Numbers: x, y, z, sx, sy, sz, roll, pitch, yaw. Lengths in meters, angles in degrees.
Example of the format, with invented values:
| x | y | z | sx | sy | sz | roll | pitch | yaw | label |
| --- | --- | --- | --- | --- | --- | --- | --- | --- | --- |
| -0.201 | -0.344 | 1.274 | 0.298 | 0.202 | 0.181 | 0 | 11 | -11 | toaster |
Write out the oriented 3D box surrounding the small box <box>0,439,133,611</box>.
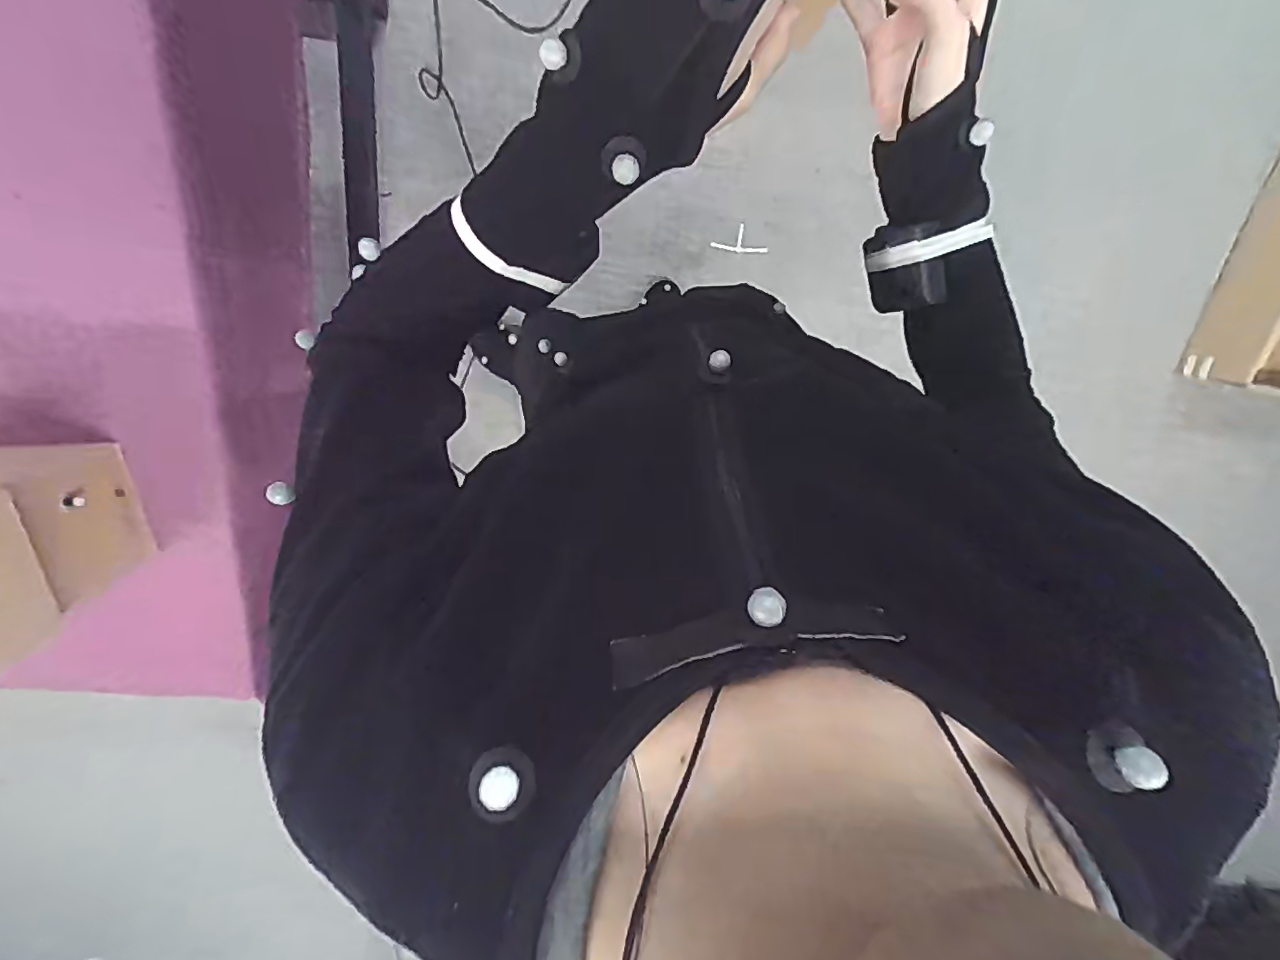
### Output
| x | y | z | sx | sy | sz | roll | pitch | yaw | label |
| --- | --- | --- | --- | --- | --- | --- | --- | --- | --- |
| -0.763 | 0.051 | 0.640 | 0.179 | 0.176 | 0.168 | -1 | 109 | -3 | small box |

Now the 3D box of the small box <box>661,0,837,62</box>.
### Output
| x | y | z | sx | sy | sz | roll | pitch | yaw | label |
| --- | --- | --- | --- | --- | --- | --- | --- | --- | --- |
| 0.056 | -0.351 | 0.262 | 0.176 | 0.168 | 0.179 | 40 | 135 | -4 | small box |

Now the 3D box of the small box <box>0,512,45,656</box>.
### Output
| x | y | z | sx | sy | sz | roll | pitch | yaw | label |
| --- | --- | --- | --- | --- | --- | --- | --- | --- | --- |
| -0.726 | 0.111 | 0.490 | 0.168 | 0.176 | 0.179 | -2 | 110 | -4 | small box |
